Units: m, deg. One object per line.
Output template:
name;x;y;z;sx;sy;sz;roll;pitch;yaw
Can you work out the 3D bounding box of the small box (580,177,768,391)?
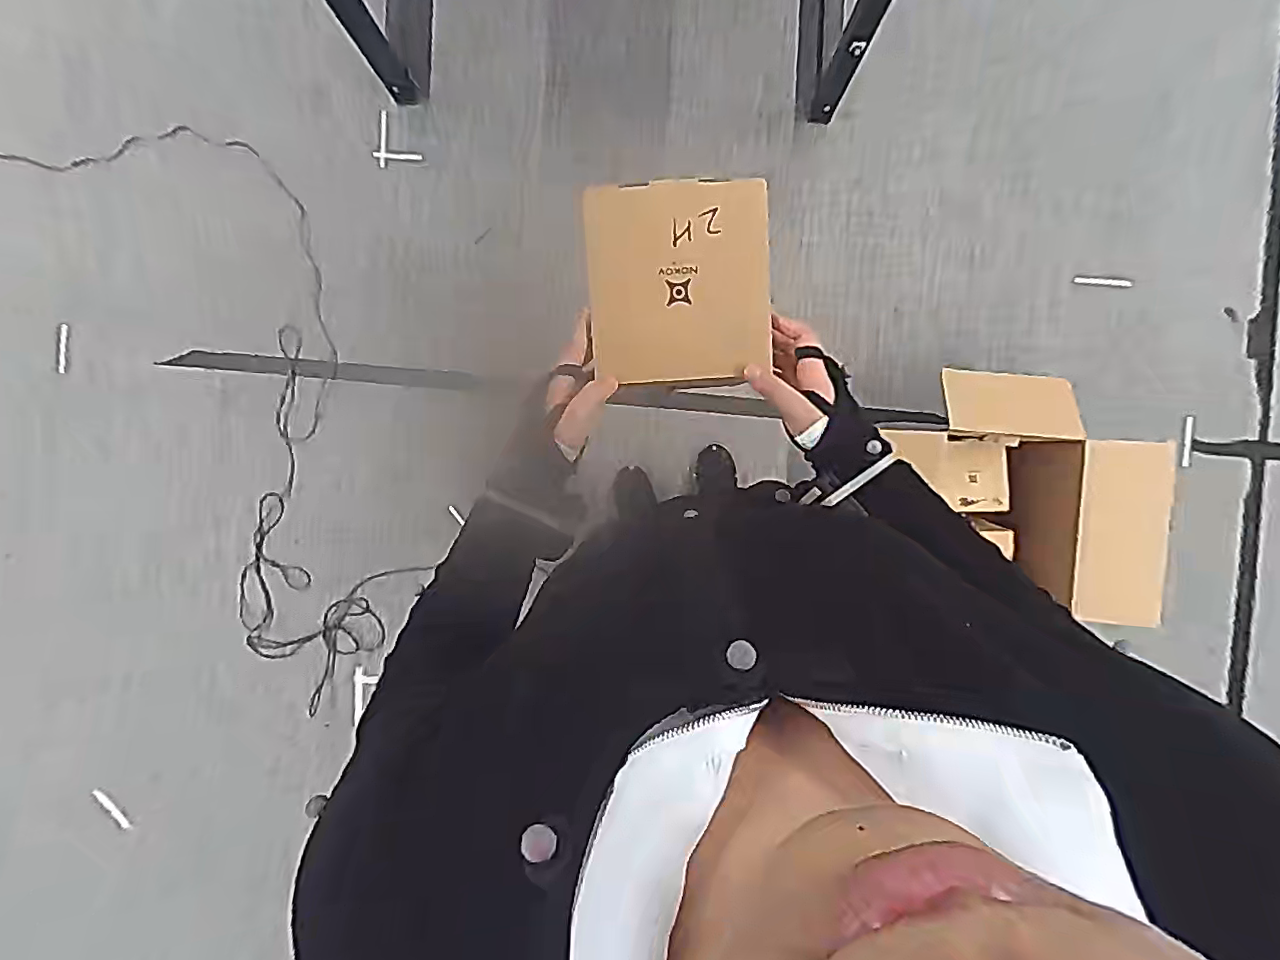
small box;0.031;-0.185;0.565;0.168;0.176;0.179;-4;96;-1
